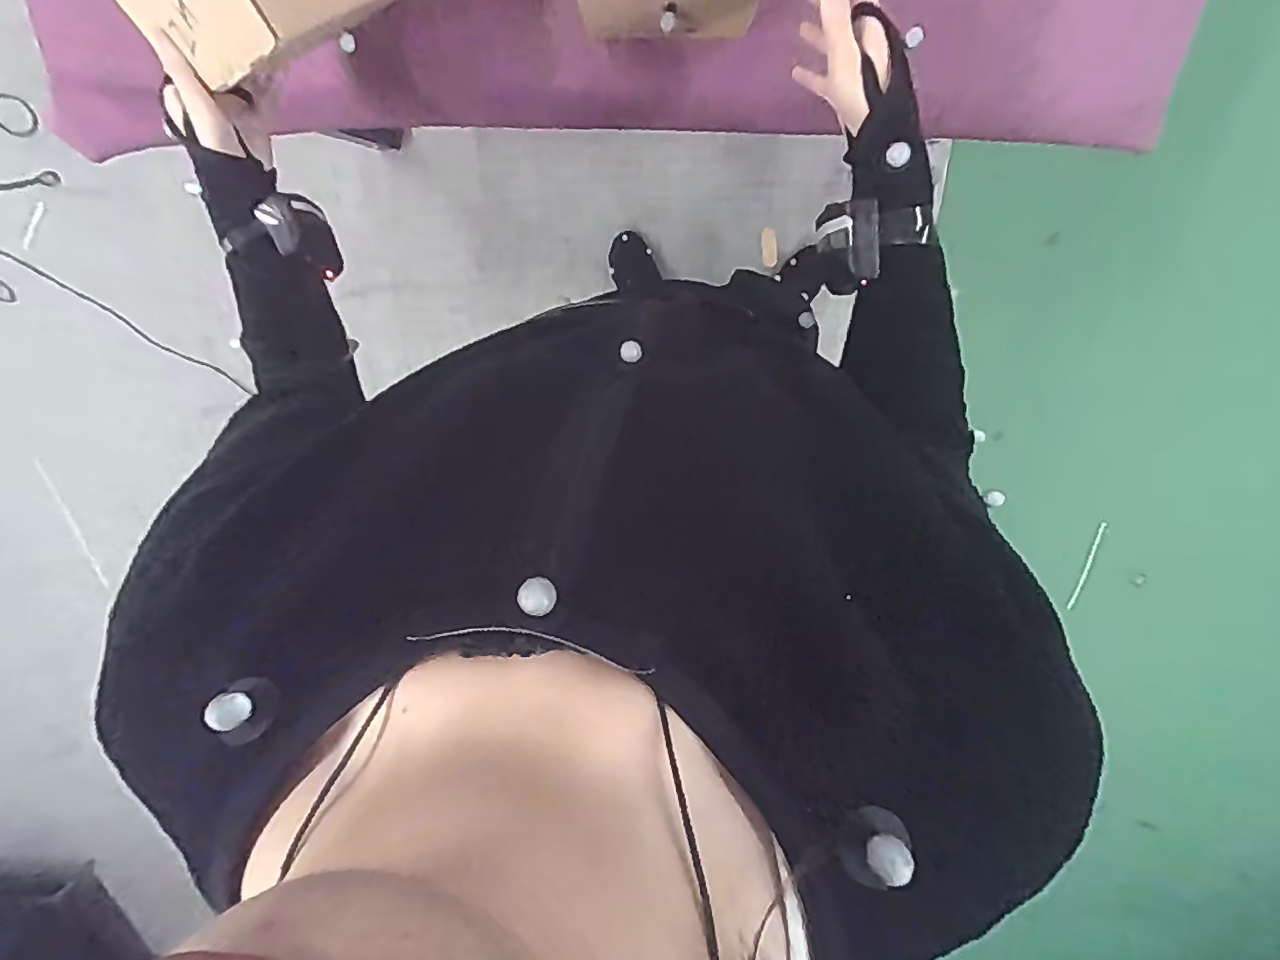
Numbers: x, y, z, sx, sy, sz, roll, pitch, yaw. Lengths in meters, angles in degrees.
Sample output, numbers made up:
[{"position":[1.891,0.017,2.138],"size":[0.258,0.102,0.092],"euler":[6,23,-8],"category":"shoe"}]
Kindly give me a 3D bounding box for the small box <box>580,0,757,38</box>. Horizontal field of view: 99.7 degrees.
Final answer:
[{"position":[0.028,-0.502,0.453],"size":[0.168,0.176,0.179],"euler":[1,114,1],"category":"small box"}]

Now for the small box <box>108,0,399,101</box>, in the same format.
[{"position":[-0.308,-0.427,0.400],"size":[0.168,0.176,0.179],"euler":[12,146,35],"category":"small box"}]
